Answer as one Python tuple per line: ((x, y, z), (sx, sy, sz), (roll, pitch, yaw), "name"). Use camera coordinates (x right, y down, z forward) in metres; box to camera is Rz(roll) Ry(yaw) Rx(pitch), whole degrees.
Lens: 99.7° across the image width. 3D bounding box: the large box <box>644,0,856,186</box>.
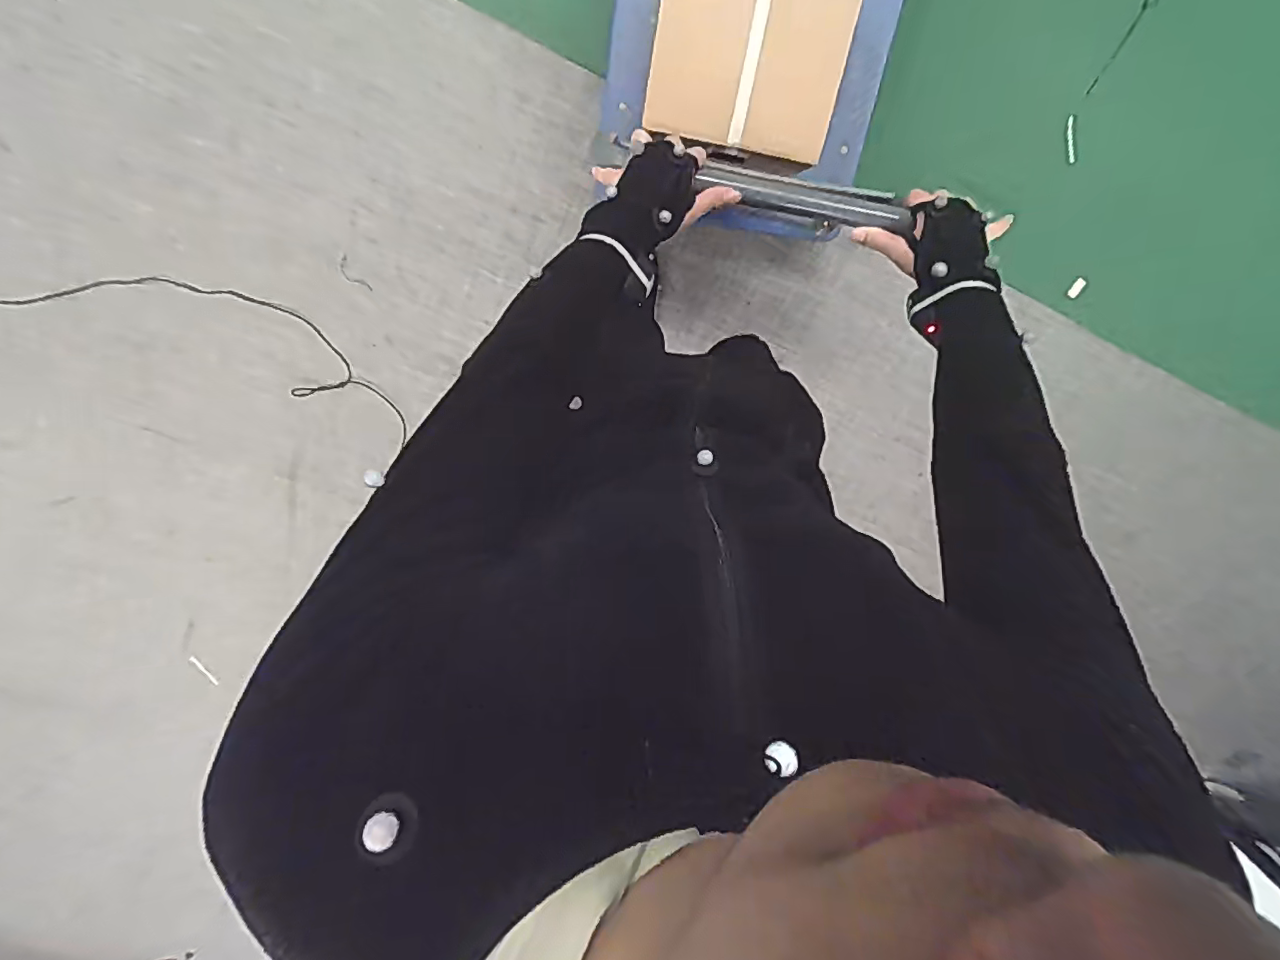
((0.185, -0.805, 0.996), (0.320, 0.320, 0.408), (8, 111, -4), "large box")
